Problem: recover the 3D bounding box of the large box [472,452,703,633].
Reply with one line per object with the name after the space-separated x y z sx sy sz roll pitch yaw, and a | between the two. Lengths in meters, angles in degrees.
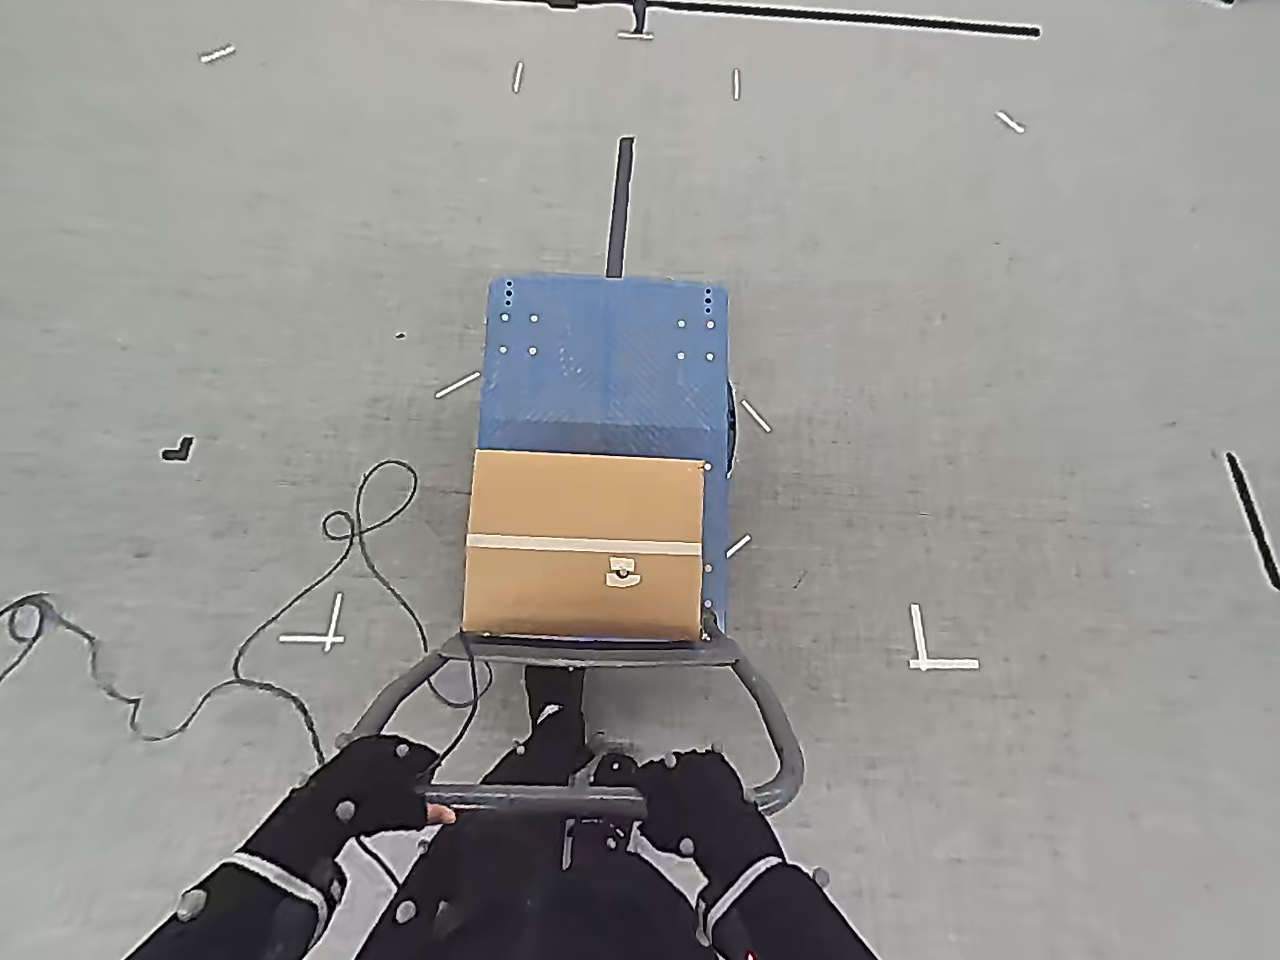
-0.098 0.129 1.103 0.408 0.320 0.320 3 84 -3 | large box
